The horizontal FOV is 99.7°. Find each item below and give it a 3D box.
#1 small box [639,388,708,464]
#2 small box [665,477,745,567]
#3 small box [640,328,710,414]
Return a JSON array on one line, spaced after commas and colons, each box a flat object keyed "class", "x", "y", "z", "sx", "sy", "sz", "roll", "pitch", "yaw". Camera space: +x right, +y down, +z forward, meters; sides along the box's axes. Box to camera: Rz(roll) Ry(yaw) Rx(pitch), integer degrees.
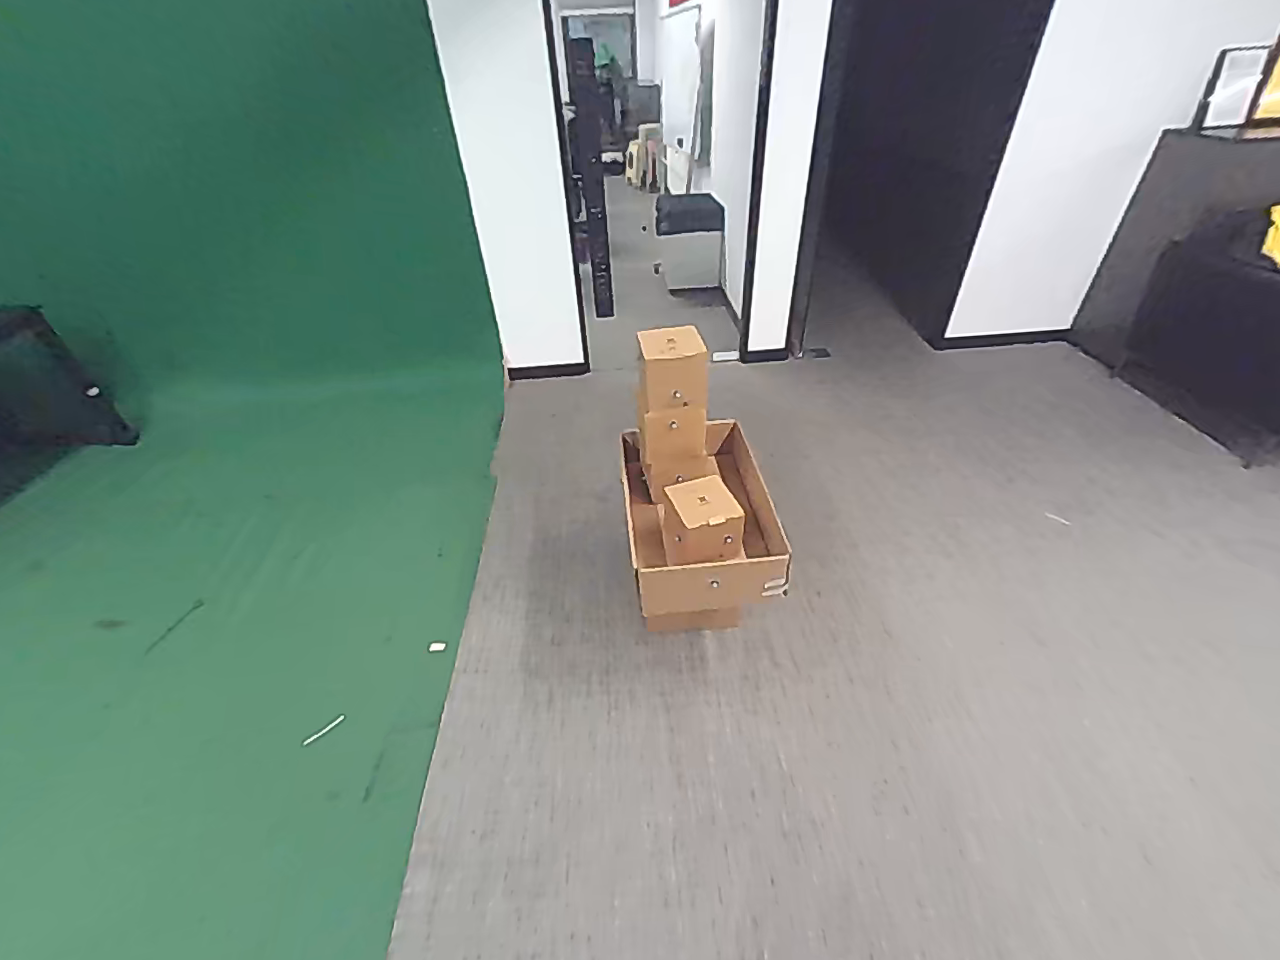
[{"class": "small box", "x": 0.096, "y": -0.169, "z": 1.597, "sx": 0.179, "sy": 0.176, "sz": 0.168, "roll": -9, "pitch": 40, "yaw": -5}, {"class": "small box", "x": 0.175, "y": 0.121, "z": 1.498, "sx": 0.168, "sy": 0.176, "sz": 0.179, "roll": -13, "pitch": 40, "yaw": -13}, {"class": "small box", "x": 0.093, "y": -0.303, "z": 1.500, "sx": 0.168, "sy": 0.176, "sz": 0.179, "roll": -8, "pitch": 40, "yaw": -3}]
